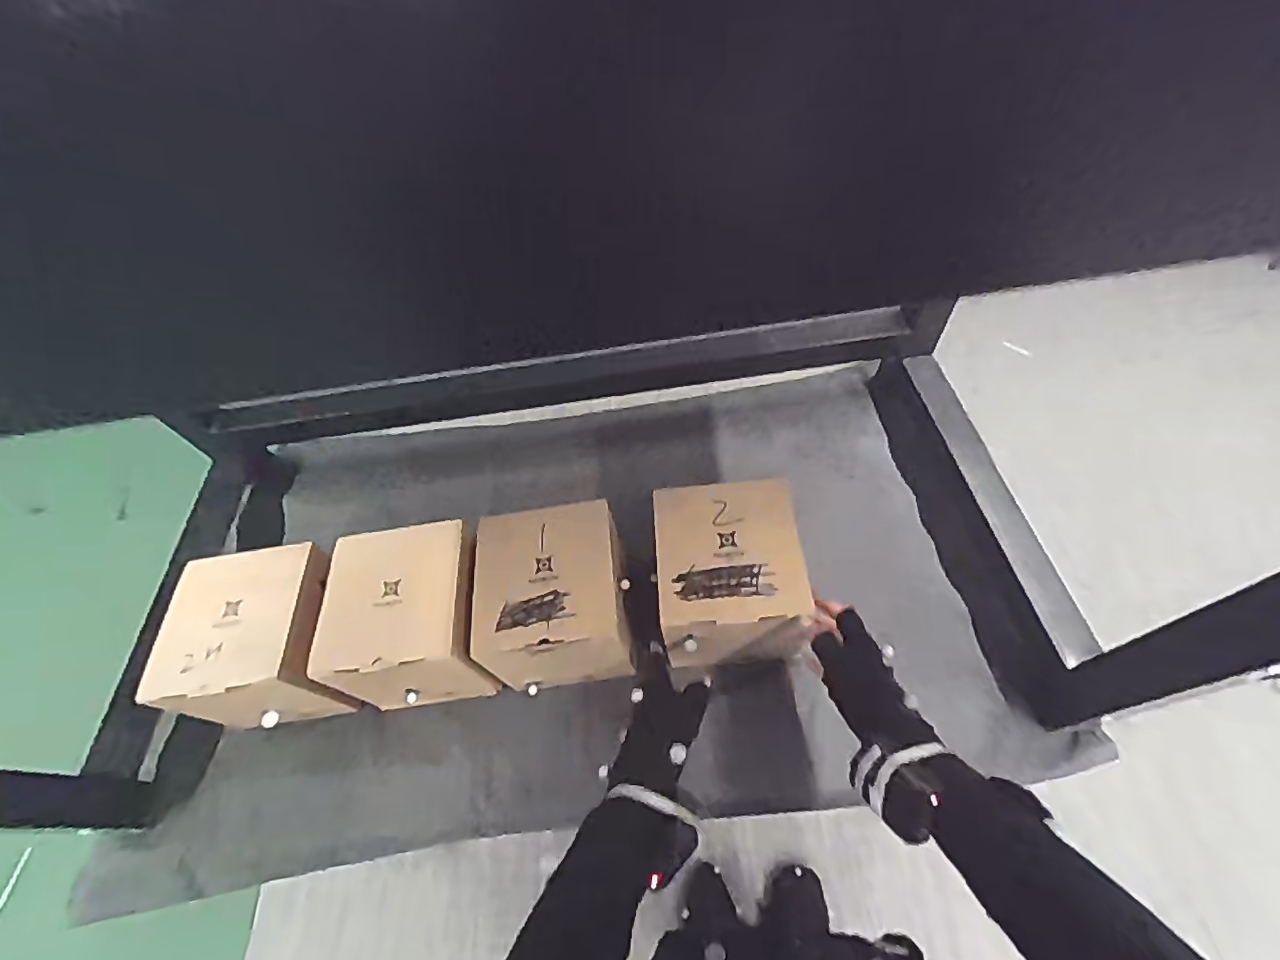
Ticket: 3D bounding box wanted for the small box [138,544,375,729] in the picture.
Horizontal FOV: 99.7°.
[{"bbox_3d":[-0.474,0.208,0.707,0.168,0.176,0.179,-9,55,2],"label":"small box"}]
